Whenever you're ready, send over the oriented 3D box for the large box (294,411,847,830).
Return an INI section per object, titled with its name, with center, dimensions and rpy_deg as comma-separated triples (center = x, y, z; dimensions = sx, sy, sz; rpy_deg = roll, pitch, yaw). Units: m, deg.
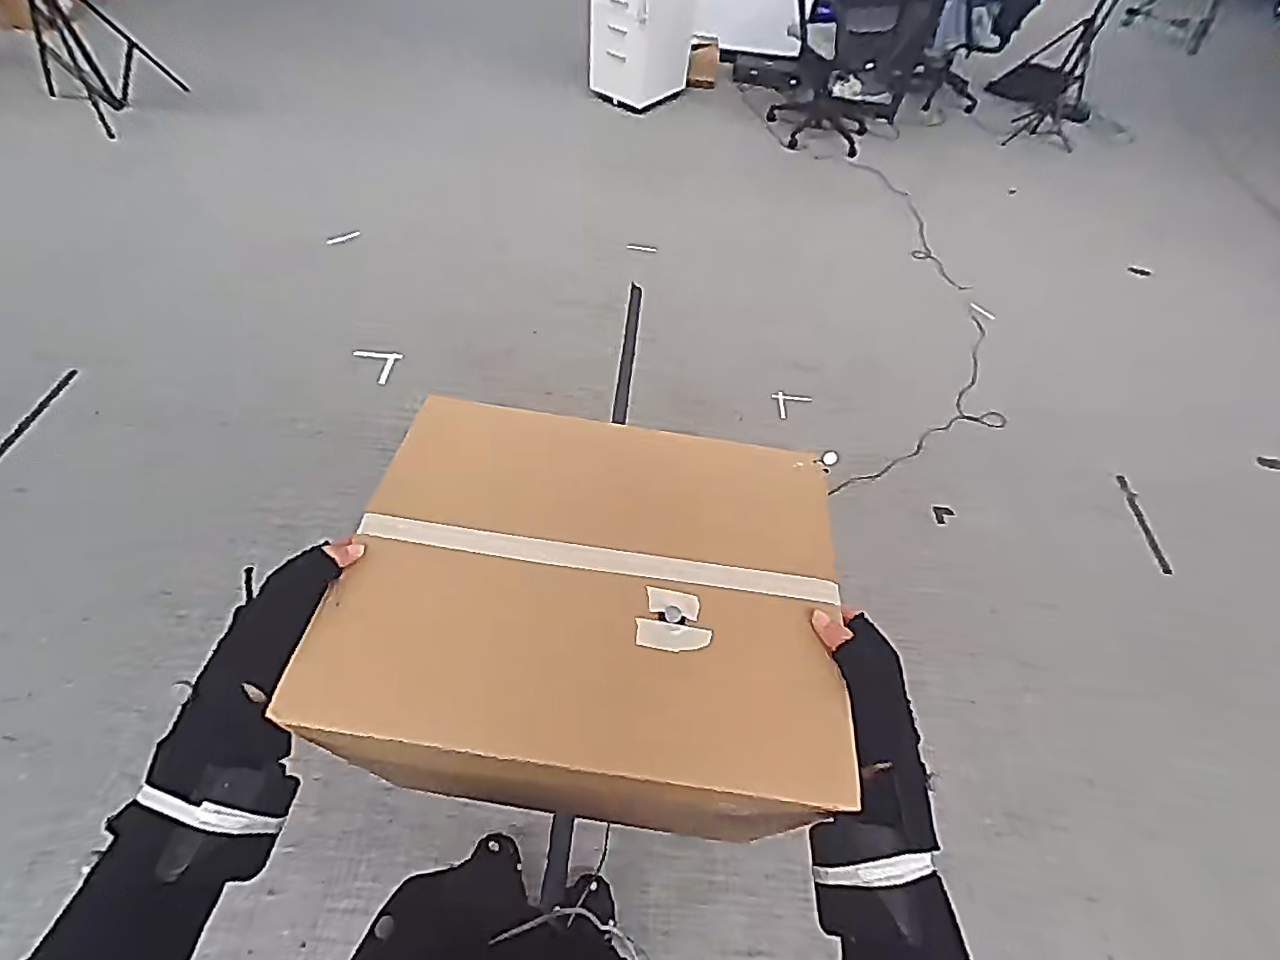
[large box]
center = -0.048, 0.163, 0.587
dimensions = 0.408, 0.320, 0.320
rpy_deg = 9, 54, 0
